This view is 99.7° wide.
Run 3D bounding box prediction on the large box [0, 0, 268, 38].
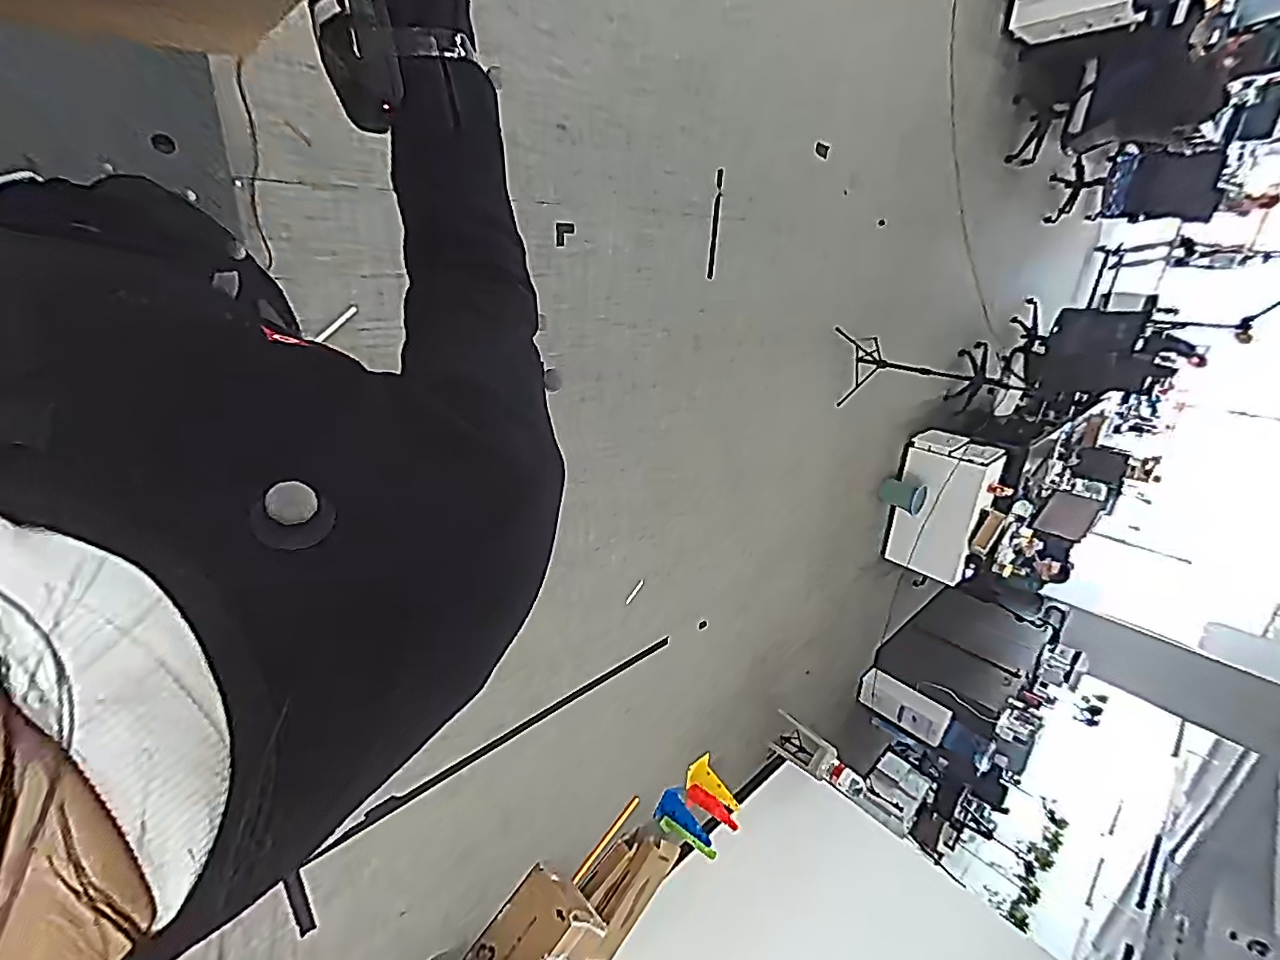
[{"bbox_3d":[-0.421,-0.427,0.216,0.408,0.320,0.320,-21,127,-37],"label":"large box"}]
